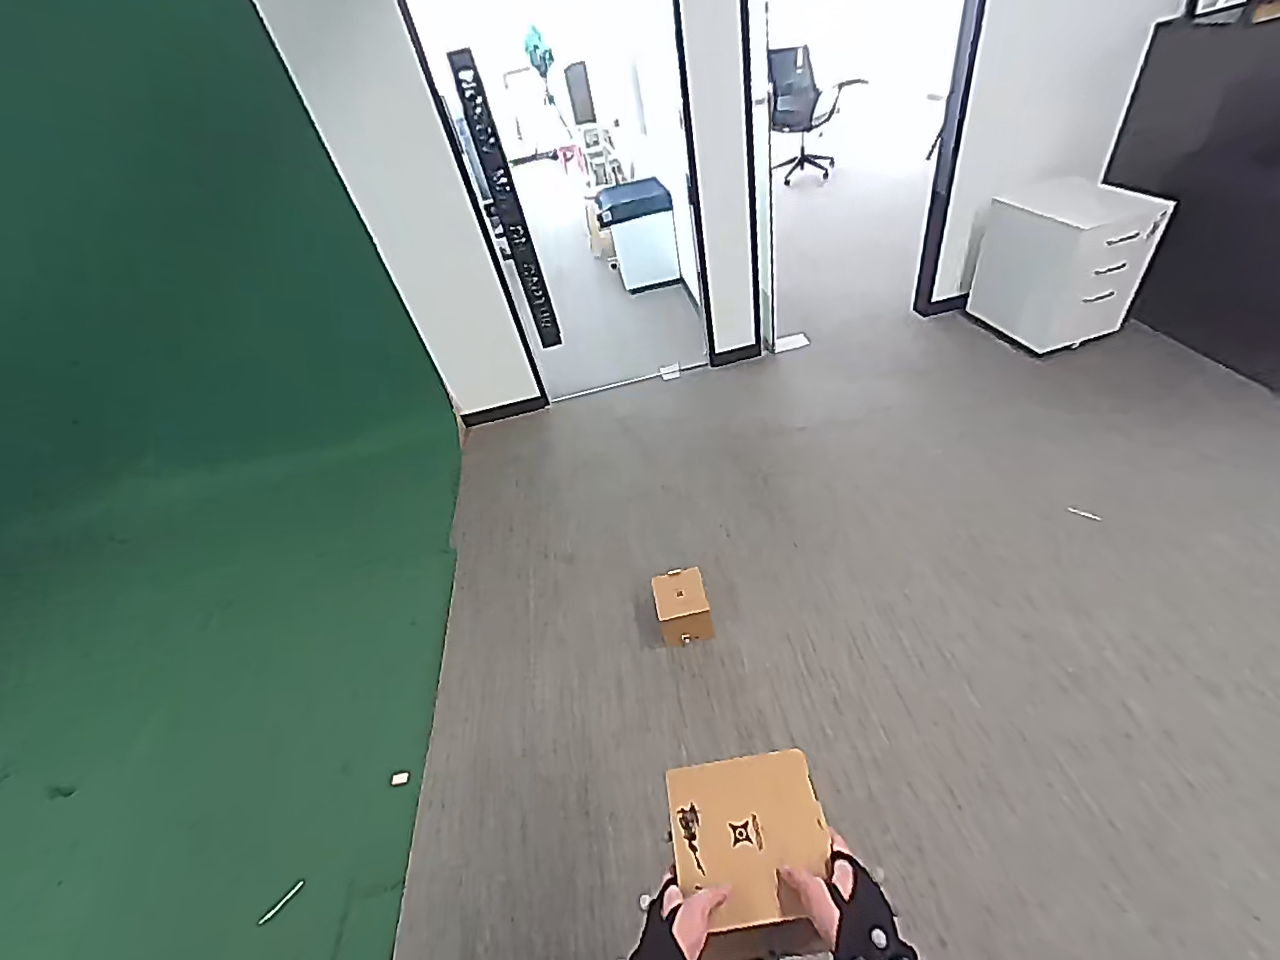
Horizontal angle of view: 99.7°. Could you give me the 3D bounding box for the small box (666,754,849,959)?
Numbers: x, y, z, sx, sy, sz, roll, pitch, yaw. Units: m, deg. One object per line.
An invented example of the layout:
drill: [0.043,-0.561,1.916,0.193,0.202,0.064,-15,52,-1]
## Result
small box: [0.133,0.463,0.661,0.179,0.176,0.168,-9,38,2]

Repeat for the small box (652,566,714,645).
small box: [0.142,0.412,1.775,0.168,0.176,0.179,-13,41,4]
